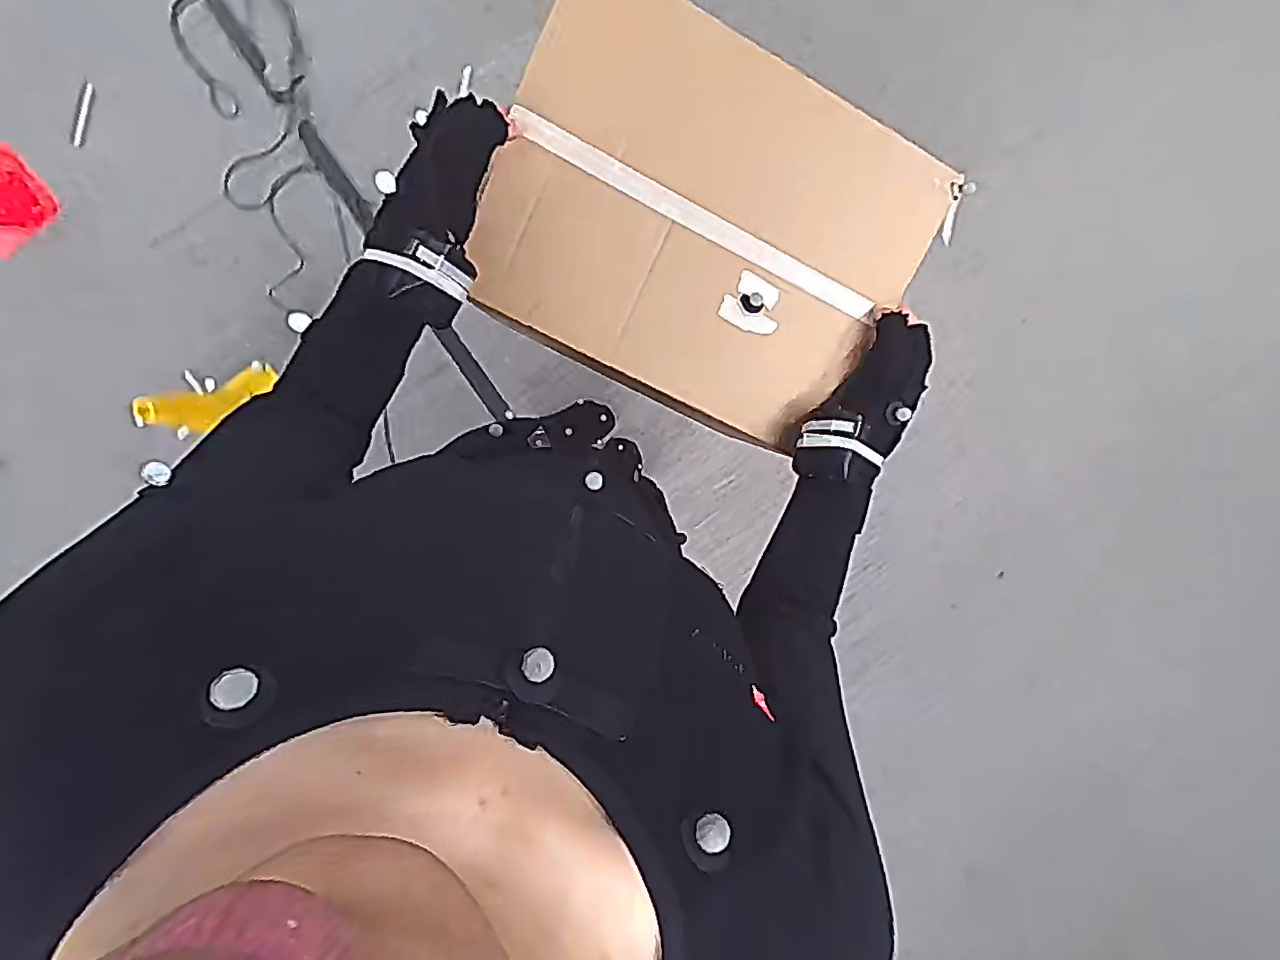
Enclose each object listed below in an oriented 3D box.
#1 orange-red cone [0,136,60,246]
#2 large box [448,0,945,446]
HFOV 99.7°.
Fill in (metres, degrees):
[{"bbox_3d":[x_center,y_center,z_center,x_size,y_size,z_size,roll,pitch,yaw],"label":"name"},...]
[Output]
[{"bbox_3d":[-1.516,-0.671,1.132,0.198,0.360,0.199,-37,99,2],"label":"orange-red cone"},{"bbox_3d":[0.042,-0.269,0.656,0.408,0.320,0.320,23,97,-10],"label":"large box"}]
